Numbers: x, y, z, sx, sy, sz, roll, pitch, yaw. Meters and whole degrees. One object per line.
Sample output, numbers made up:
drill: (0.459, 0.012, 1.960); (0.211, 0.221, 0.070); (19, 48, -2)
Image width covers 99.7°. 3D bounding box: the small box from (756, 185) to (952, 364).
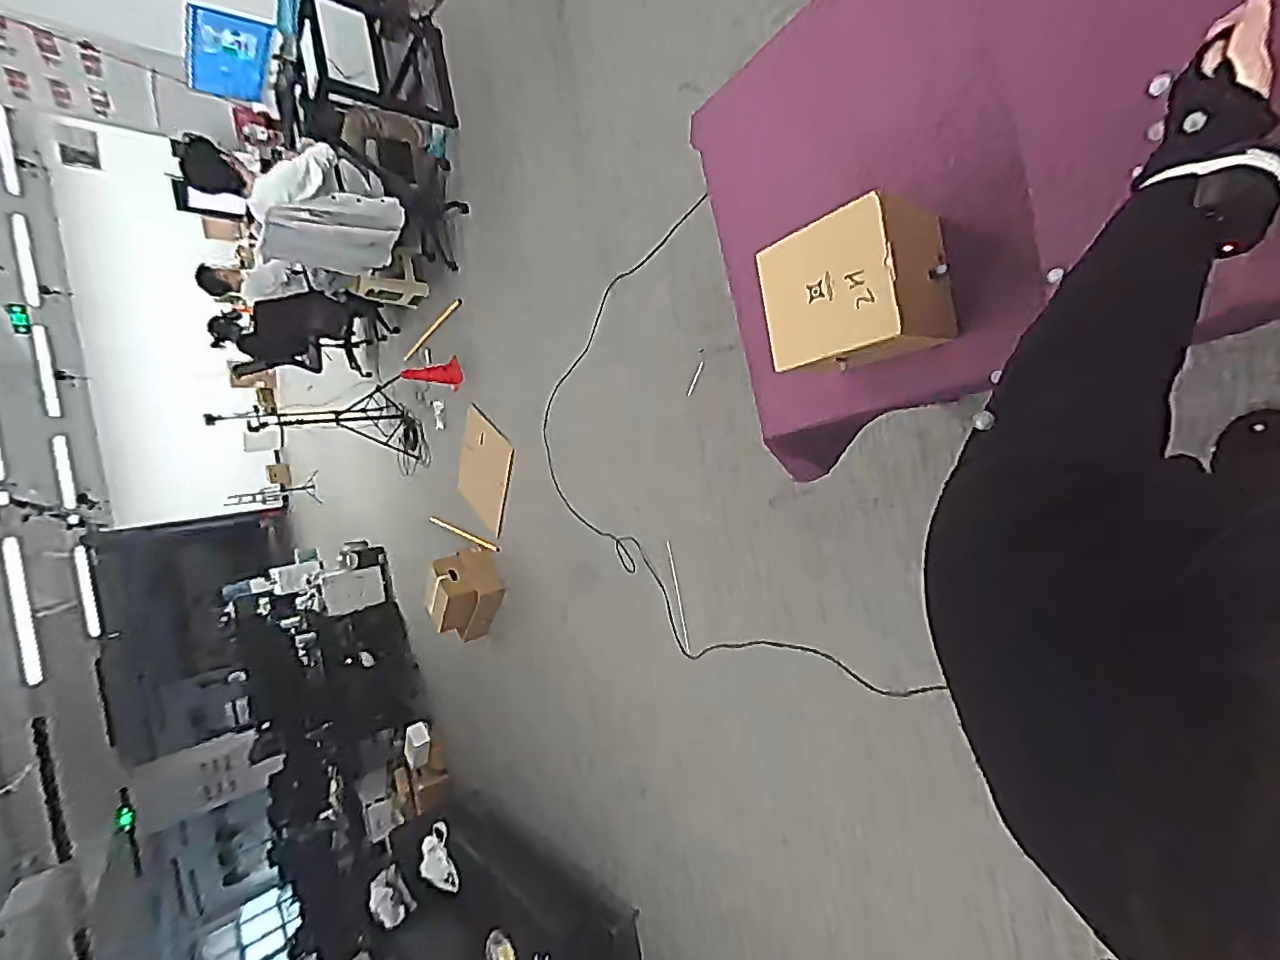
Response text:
small box: (0.284, -0.255, 0.723); (0.179, 0.176, 0.168); (-8, 92, 50)
